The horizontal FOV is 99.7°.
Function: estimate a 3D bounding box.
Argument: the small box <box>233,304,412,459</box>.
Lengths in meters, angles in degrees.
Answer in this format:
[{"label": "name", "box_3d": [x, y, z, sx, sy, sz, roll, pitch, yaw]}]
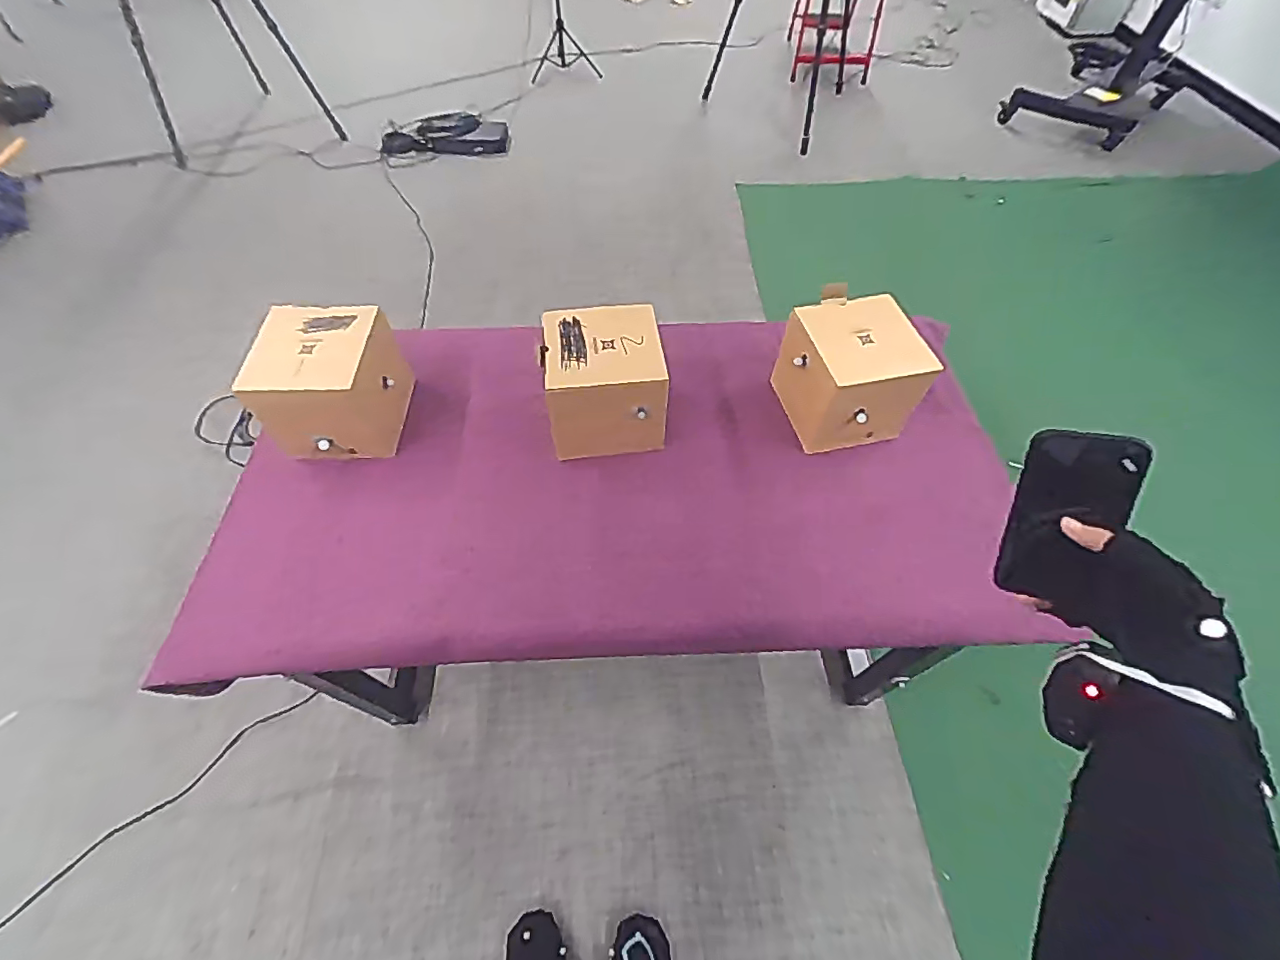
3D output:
[{"label": "small box", "box_3d": [-0.479, -0.153, 0.852, 0.168, 0.176, 0.179, 0, 58, -1]}]

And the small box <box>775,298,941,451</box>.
[{"label": "small box", "box_3d": [0.336, -0.162, 0.874, 0.168, 0.176, 0.179, -10, 57, -7]}]
